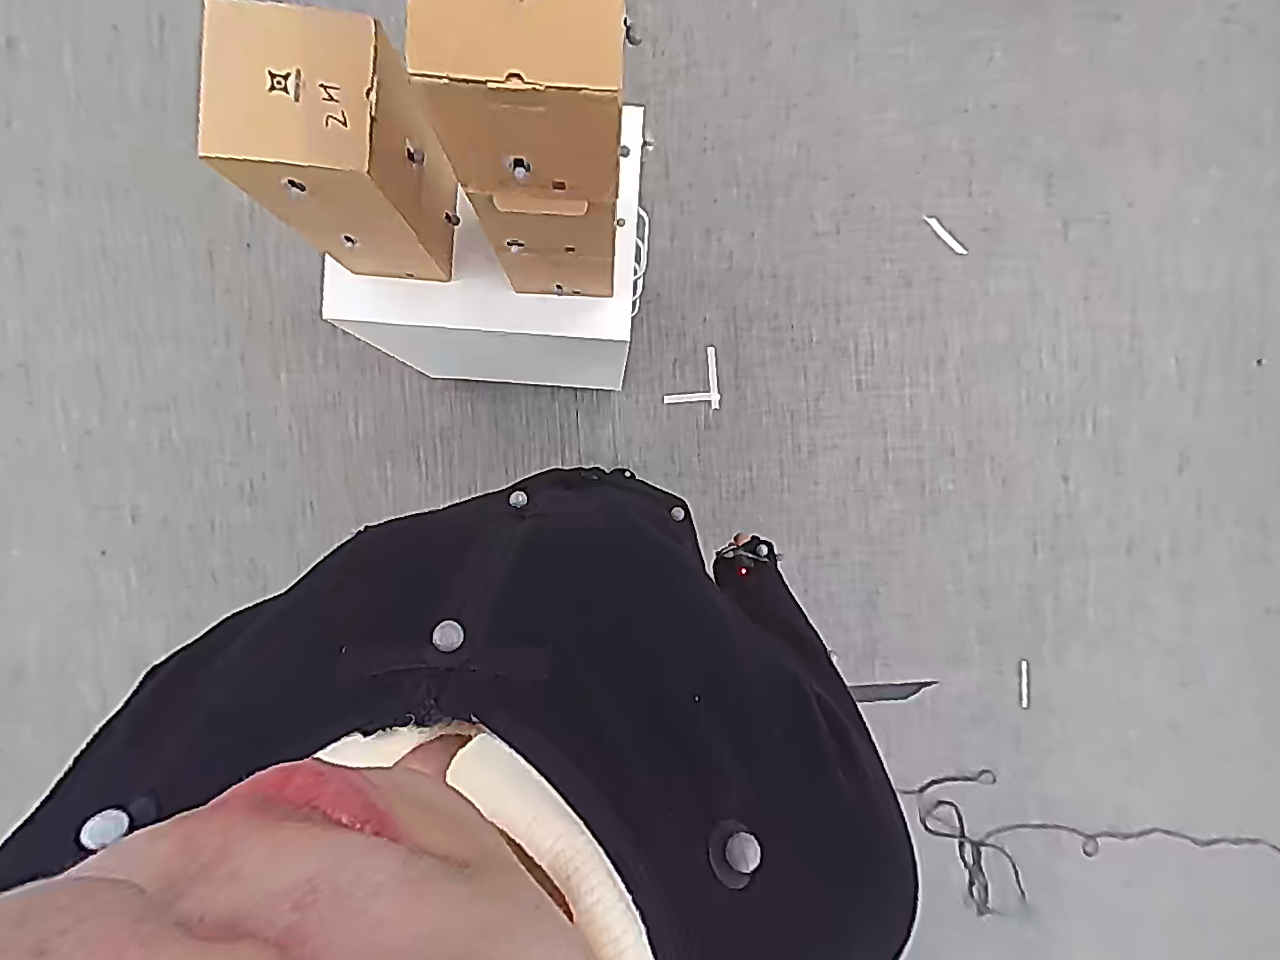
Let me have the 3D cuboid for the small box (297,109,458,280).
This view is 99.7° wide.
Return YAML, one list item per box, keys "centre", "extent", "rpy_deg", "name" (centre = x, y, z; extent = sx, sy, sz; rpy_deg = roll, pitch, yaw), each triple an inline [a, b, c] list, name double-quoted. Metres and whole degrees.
- centre: [-0.377, -0.422, 0.803]
  extent: [0.168, 0.176, 0.179]
  rpy_deg: [4, 90, -3]
  name: "small box"

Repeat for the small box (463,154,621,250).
- centre: [-0.107, -0.398, 0.656]
  extent: [0.168, 0.176, 0.179]
  rpy_deg: [2, 91, -3]
  name: "small box"

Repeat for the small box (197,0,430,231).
- centre: [-0.368, -0.414, 0.638]
  extent: [0.179, 0.176, 0.168]
  rpy_deg: [4, 92, -4]
  name: "small box"

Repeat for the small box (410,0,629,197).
- centre: [-0.096, -0.393, 0.494]
  extent: [0.168, 0.176, 0.179]
  rpy_deg: [2, 92, -4]
  name: "small box"
